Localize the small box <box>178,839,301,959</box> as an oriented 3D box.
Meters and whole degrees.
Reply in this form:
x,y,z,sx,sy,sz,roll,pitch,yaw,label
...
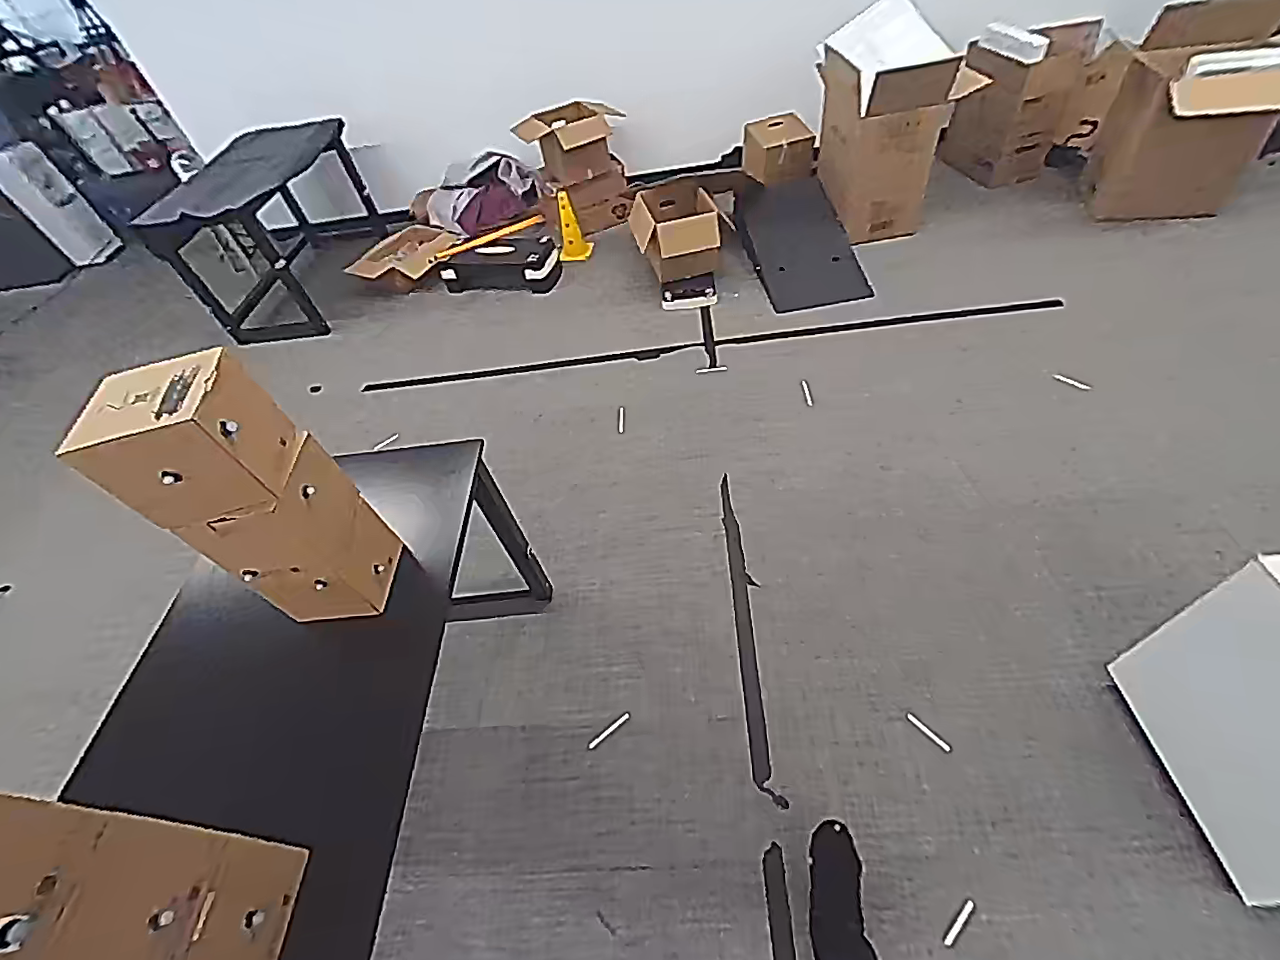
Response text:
x,y,z,sx,sy,sz,roll,pitch,yaw,label
-0.576,0.562,0.680,0.179,0.176,0.168,-7,49,4,small box

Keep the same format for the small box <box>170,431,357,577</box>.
x,y,z,sx,sy,sz,roll,pitch,yaw,label
-0.607,0.048,0.904,0.168,0.176,0.179,-9,49,2,small box

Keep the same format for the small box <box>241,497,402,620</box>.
x,y,z,sx,sy,sz,roll,pitch,yaw,label
-0.591,0.154,1.029,0.179,0.176,0.168,-6,50,5,small box

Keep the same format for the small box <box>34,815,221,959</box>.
x,y,z,sx,sy,sz,roll,pitch,yaw,label
-0.601,0.457,0.556,0.179,0.176,0.168,-6,50,5,small box

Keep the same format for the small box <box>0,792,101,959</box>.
x,y,z,sx,sy,sz,roll,pitch,yaw,label
-0.622,0.352,0.433,0.179,0.176,0.168,-6,51,4,small box
